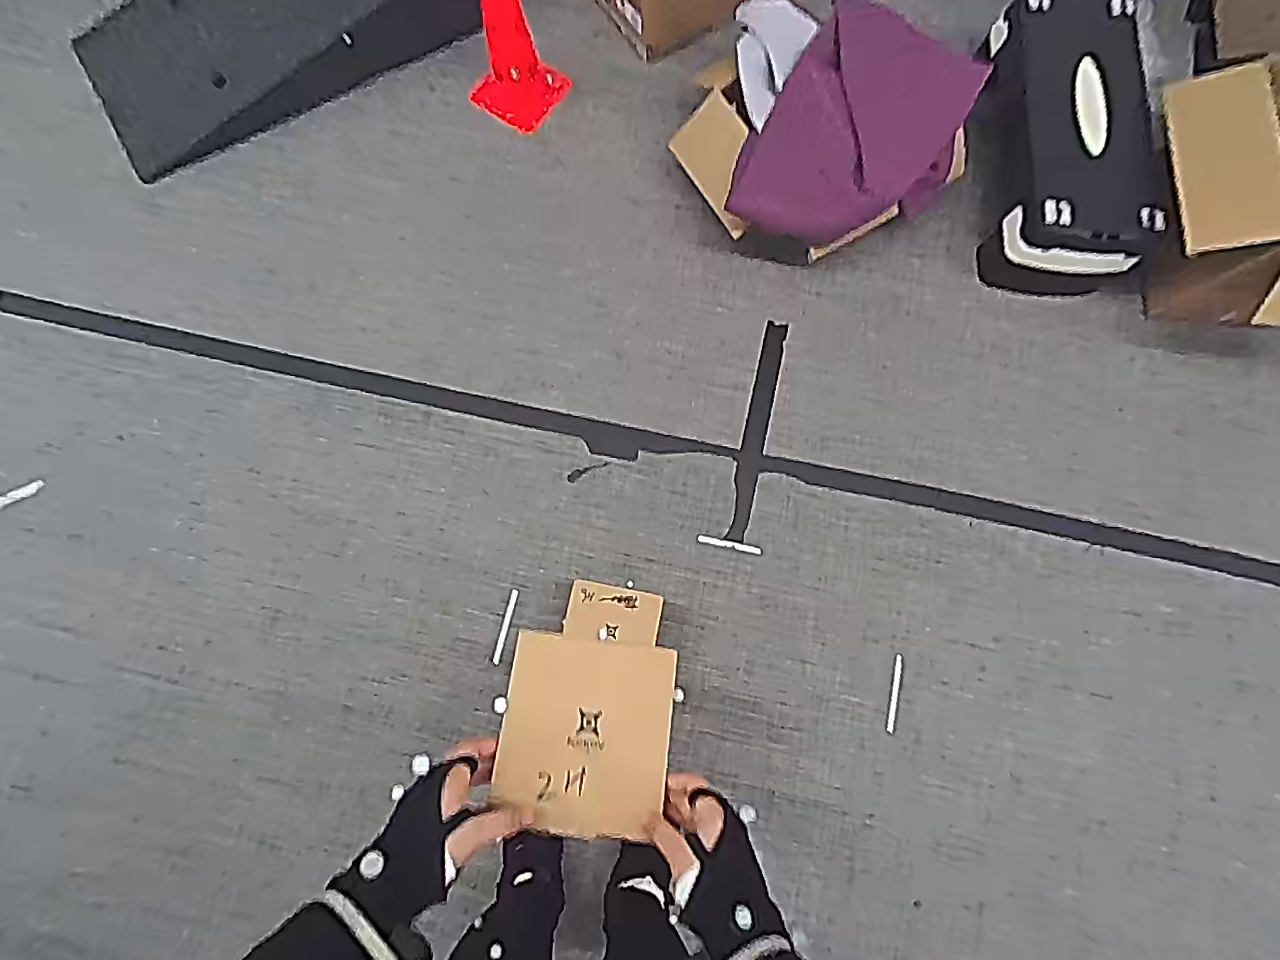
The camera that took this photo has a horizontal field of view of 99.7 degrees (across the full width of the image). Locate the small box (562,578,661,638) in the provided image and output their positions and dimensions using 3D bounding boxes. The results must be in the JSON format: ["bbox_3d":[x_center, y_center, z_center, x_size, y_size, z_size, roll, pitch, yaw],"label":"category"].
[{"bbox_3d":[-0.058,0.290,1.024,0.168,0.176,0.179,12,78,2],"label":"small box"}]

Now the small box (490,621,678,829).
[{"bbox_3d":[-0.060,0.264,0.615,0.168,0.176,0.179,9,72,-3],"label":"small box"}]
